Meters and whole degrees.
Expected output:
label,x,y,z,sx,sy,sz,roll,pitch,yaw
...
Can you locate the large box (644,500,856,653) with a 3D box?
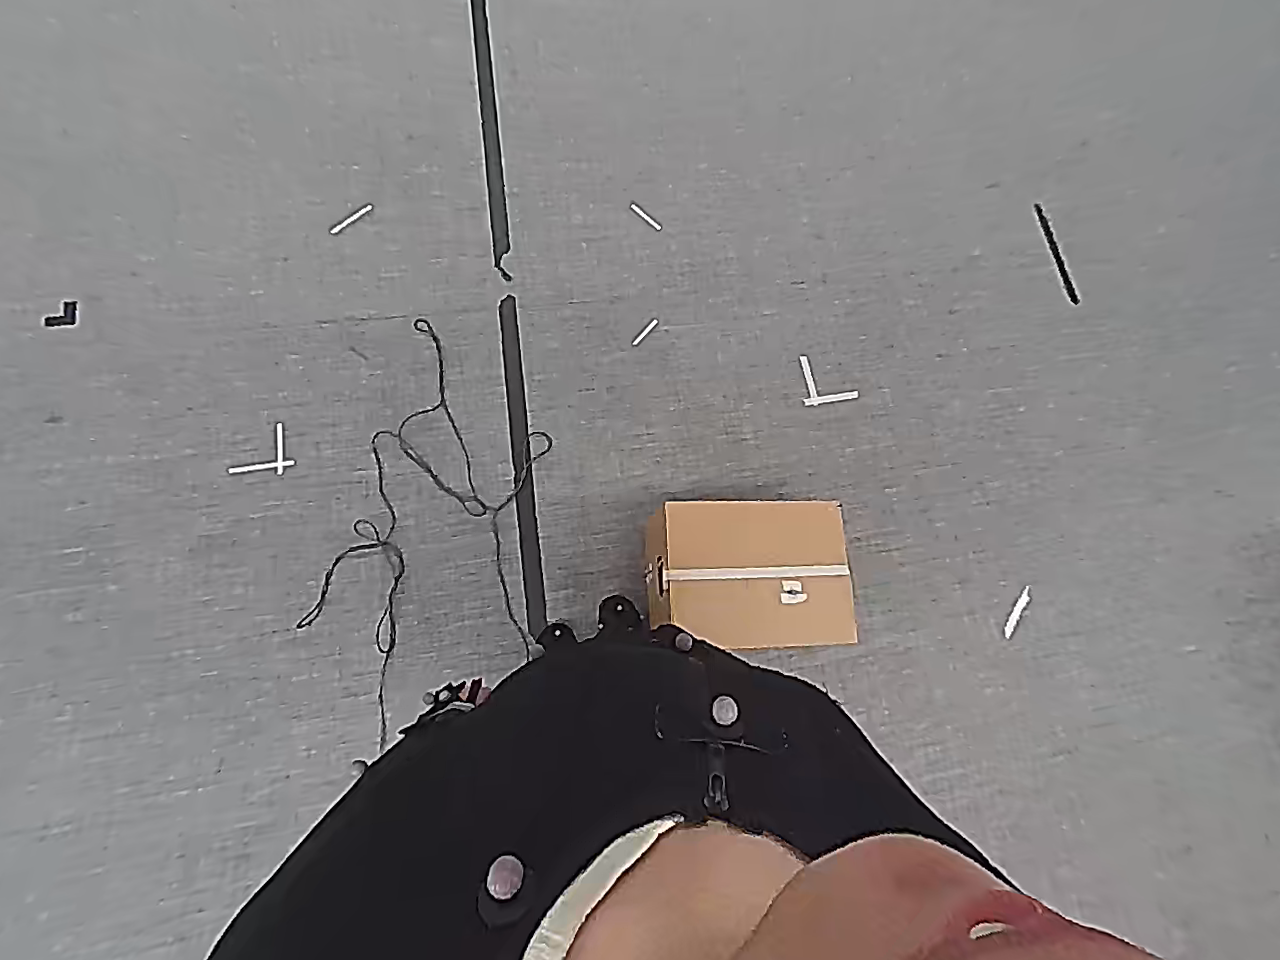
label,x,y,z,sx,sy,sz,roll,pitch,yaw
large box,0.236,0.235,1.301,0.408,0.320,0.320,0,76,-9
